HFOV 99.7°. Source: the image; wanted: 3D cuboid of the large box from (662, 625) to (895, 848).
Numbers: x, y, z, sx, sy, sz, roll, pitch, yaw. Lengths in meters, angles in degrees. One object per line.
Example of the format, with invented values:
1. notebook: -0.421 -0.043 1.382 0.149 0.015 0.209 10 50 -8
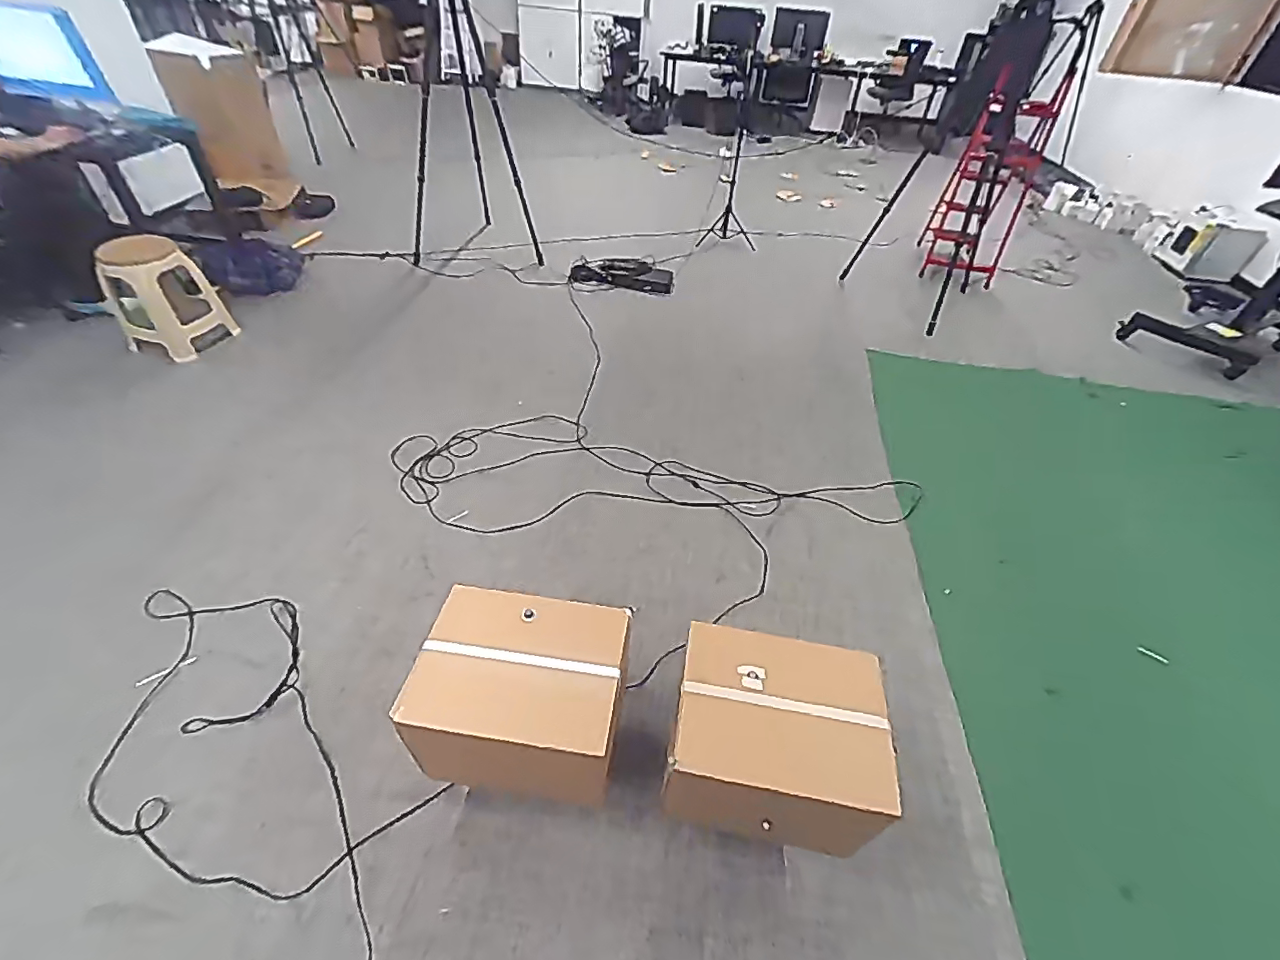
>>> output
1. large box: 0.275 0.558 1.177 0.408 0.320 0.320 9 44 5
